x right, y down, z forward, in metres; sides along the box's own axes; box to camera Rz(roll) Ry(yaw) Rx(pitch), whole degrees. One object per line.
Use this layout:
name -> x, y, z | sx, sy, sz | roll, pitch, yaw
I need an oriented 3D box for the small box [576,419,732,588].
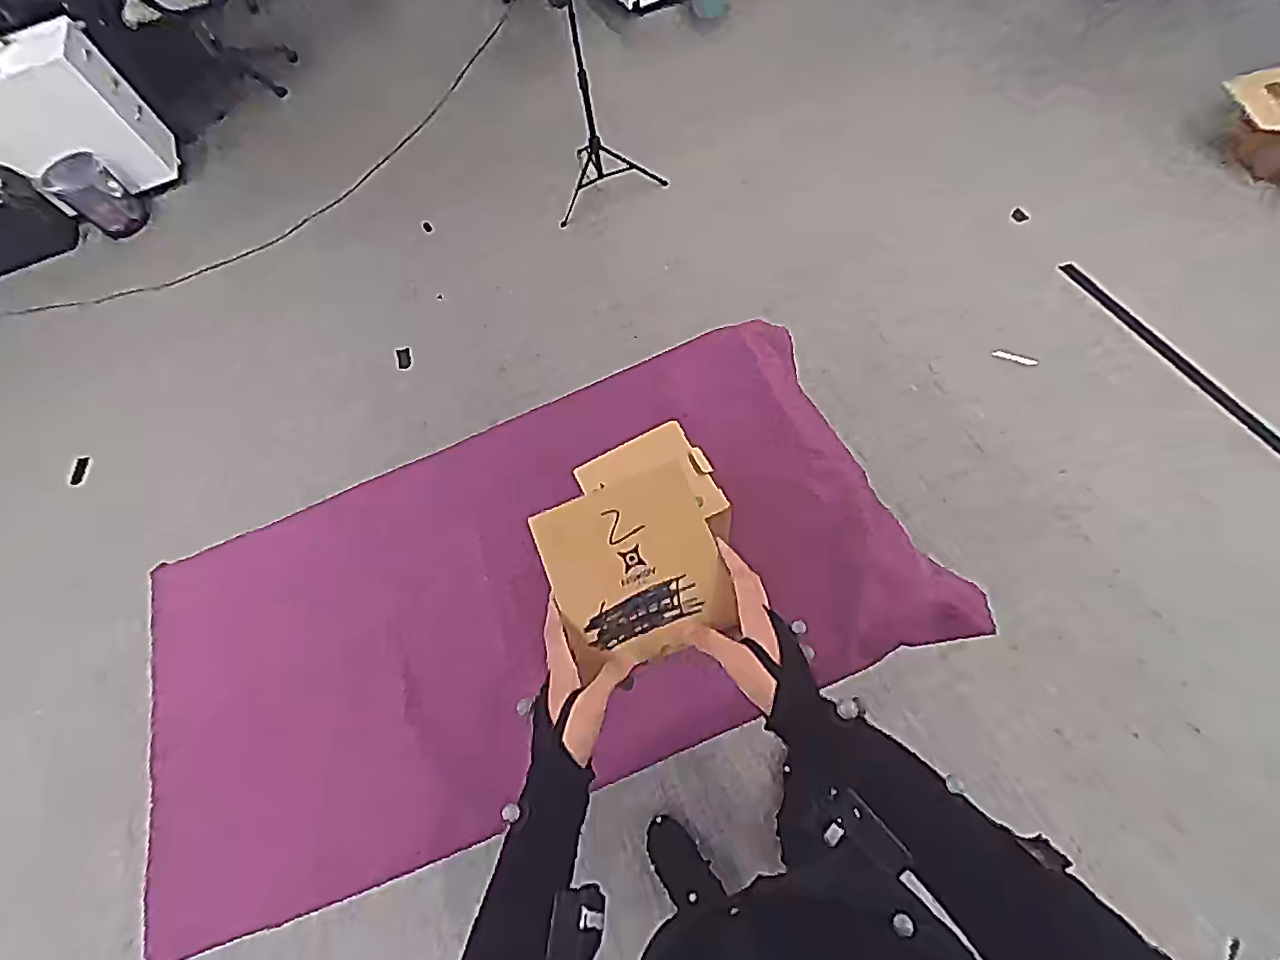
small box -> 0.023, 0.043, 0.835 | 0.179, 0.176, 0.168 | -26, 63, -6
